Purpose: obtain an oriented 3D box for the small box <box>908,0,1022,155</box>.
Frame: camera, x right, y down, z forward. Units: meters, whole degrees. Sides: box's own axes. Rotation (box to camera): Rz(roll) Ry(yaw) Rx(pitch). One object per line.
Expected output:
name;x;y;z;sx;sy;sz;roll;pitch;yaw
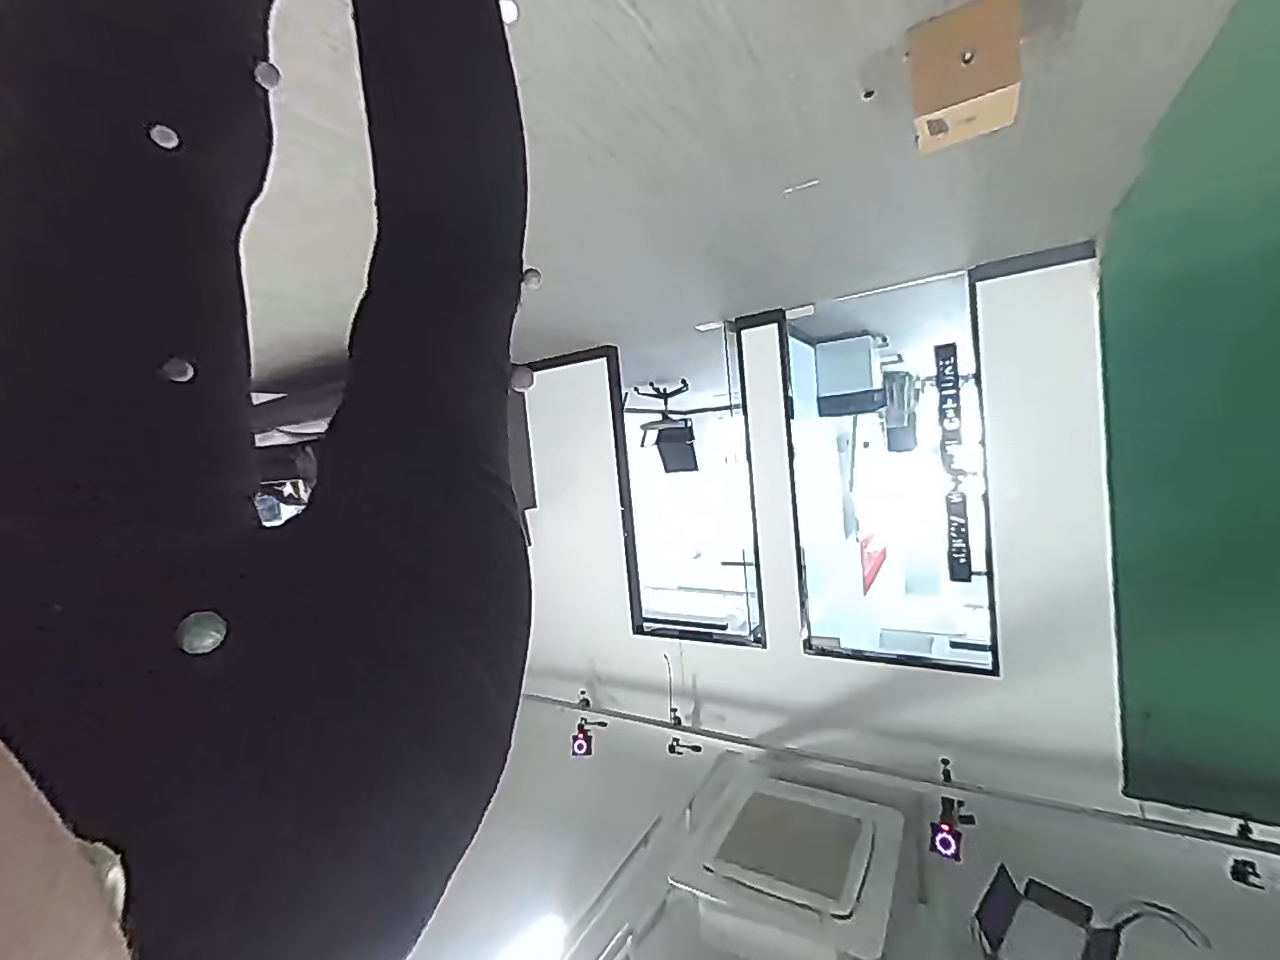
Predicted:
small box;0.629;-0.786;1.061;0.179;0.176;0.168;-5;-177;30
